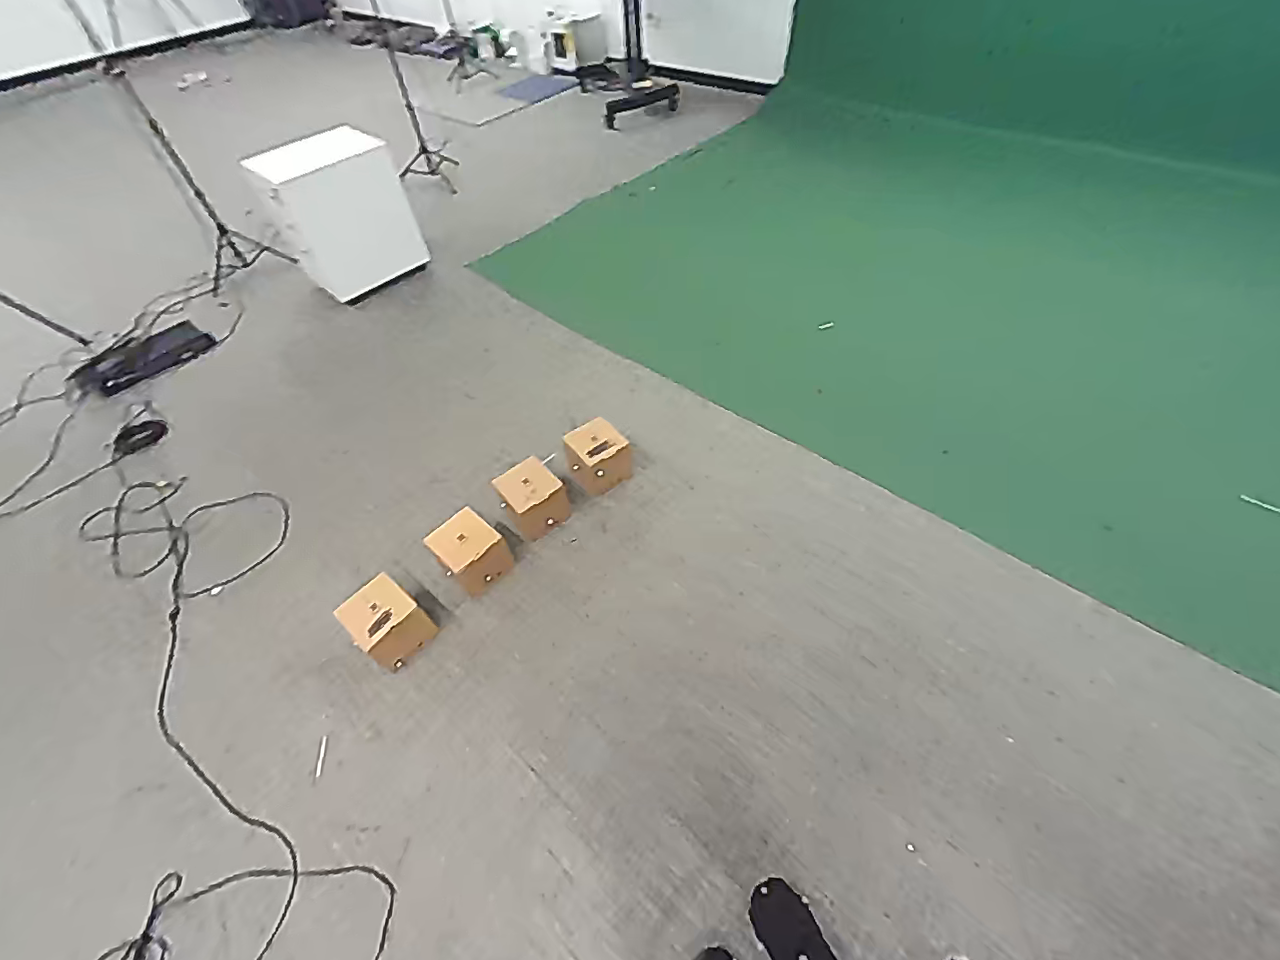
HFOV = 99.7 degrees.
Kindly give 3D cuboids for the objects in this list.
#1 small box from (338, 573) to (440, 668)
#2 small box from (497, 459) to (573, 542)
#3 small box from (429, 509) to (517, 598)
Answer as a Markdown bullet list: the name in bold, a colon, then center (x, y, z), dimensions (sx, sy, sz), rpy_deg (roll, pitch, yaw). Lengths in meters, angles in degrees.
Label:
- **small box**: center (-0.697, 0.402, 1.519), dimensions (0.179, 0.176, 0.168), rpy_deg (32, 60, 28)
- **small box**: center (-0.339, 0.070, 1.765), dimensions (0.168, 0.176, 0.179), rpy_deg (-35, 57, -21)
- **small box**: center (-0.505, 0.228, 1.649), dimensions (0.179, 0.176, 0.168), rpy_deg (34, 61, 27)
